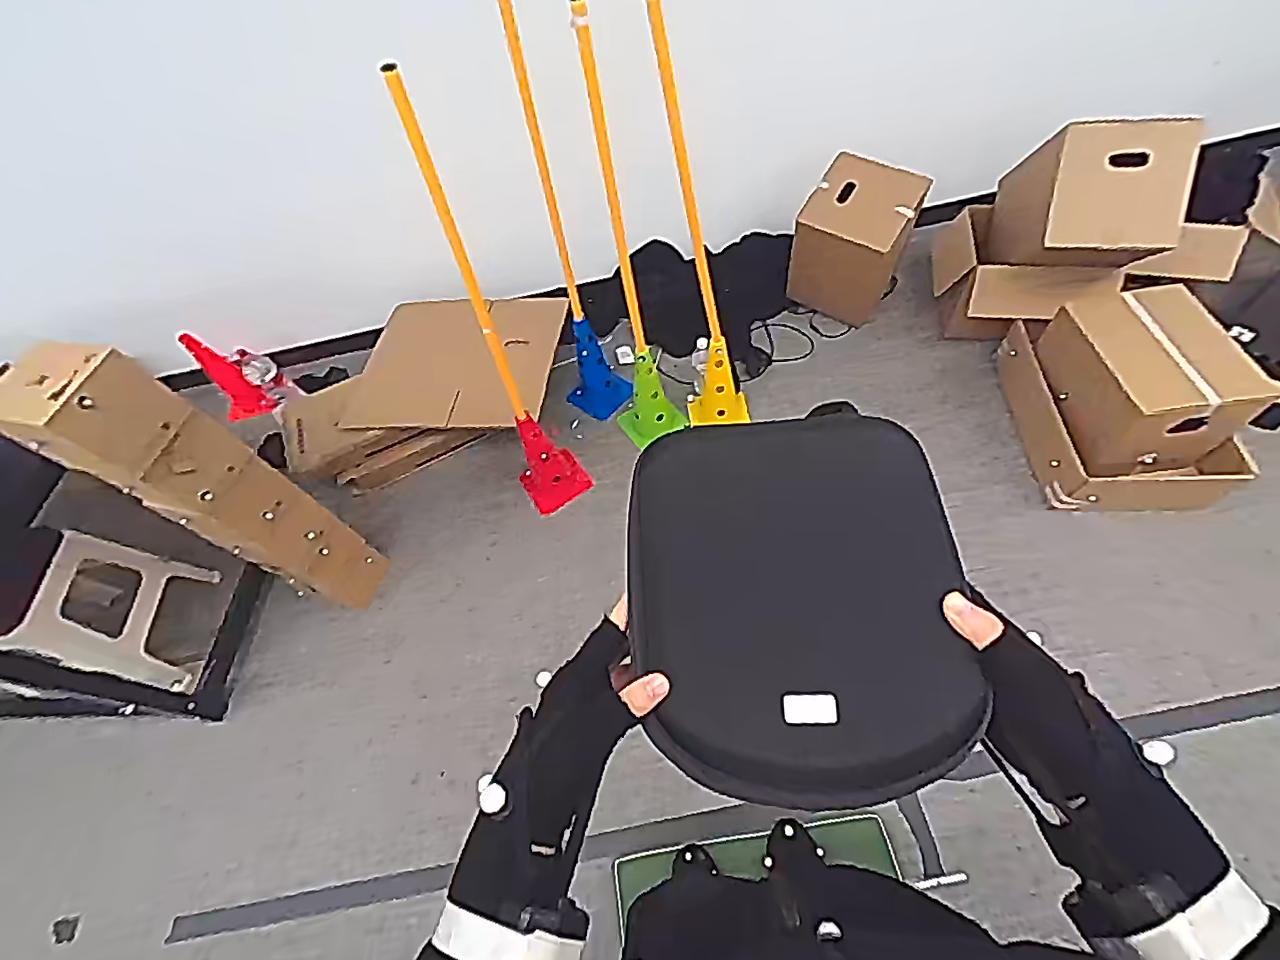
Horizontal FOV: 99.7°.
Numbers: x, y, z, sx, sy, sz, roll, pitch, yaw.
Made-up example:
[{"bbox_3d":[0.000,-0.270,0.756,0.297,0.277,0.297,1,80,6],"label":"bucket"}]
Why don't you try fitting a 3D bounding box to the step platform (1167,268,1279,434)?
[{"bbox_3d":[1.983,-0.442,1.654,0.684,0.204,0.286,-37,60,-14],"label":"step platform"}]
